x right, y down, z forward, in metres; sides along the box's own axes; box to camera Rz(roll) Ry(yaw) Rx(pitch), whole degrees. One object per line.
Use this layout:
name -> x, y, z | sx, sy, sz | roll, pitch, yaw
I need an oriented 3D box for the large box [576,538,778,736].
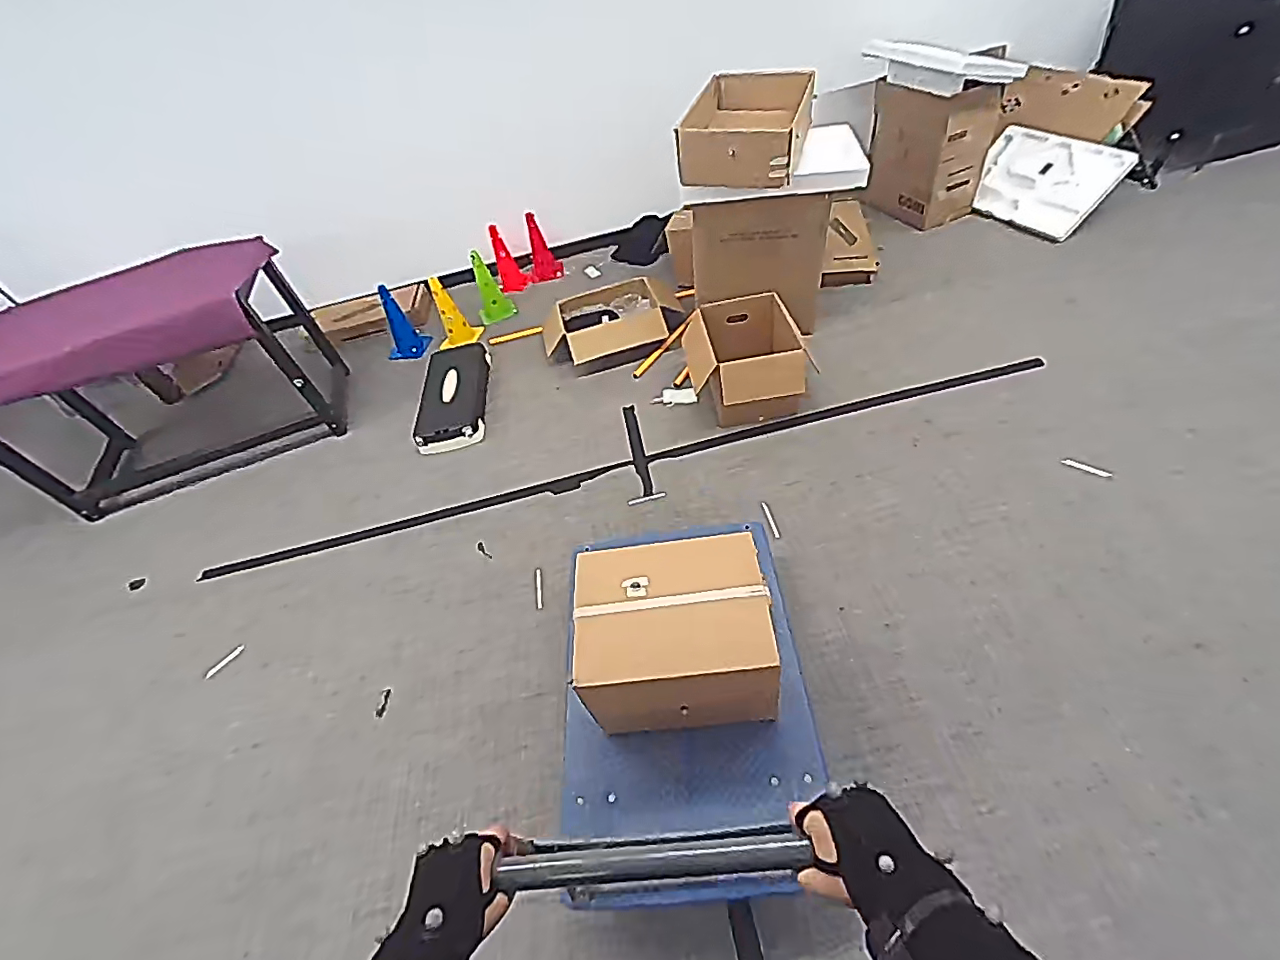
large box -> 0.086, 0.373, 1.256 | 0.408, 0.320, 0.320 | -9, 47, 6
